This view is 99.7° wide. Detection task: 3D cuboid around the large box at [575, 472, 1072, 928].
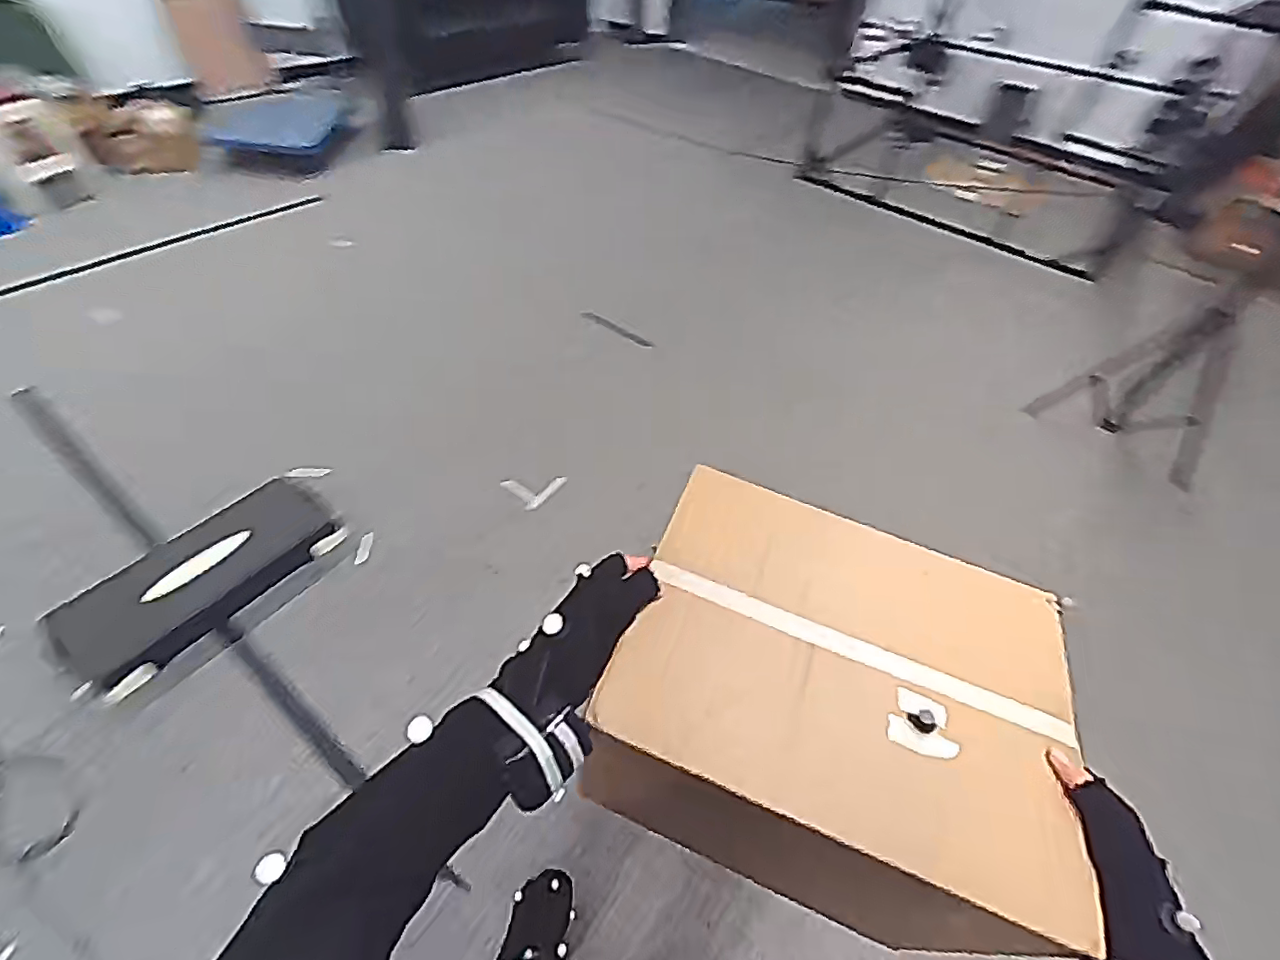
[{"bbox_3d":[0.168,0.253,0.632,0.408,0.320,0.320,20,51,8],"label":"large box"}]
